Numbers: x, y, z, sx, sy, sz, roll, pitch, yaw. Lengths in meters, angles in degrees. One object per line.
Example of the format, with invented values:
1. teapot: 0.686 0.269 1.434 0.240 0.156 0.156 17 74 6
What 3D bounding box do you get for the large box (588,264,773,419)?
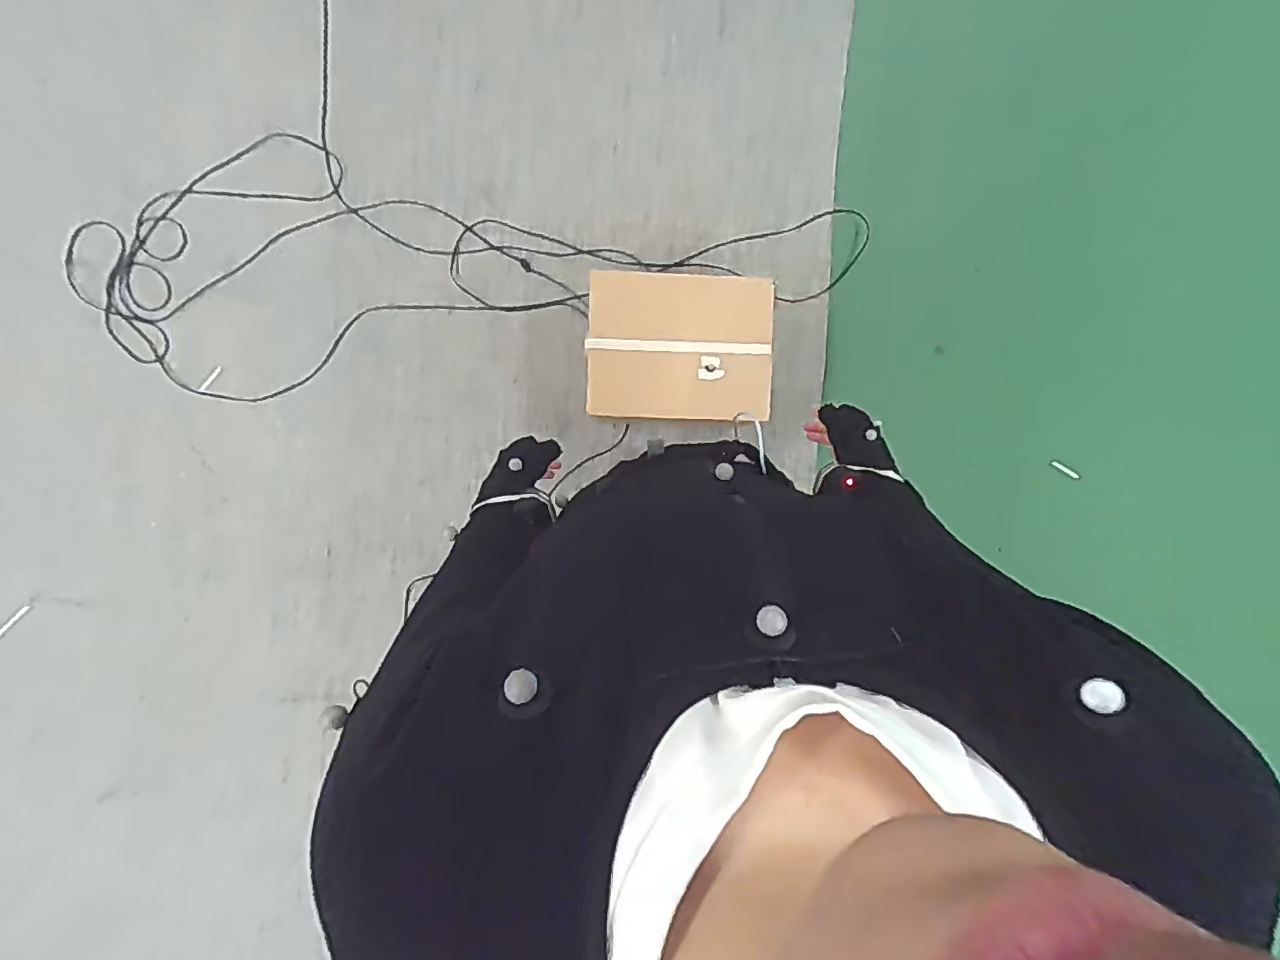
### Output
1. large box: 0.080 -0.313 1.318 0.408 0.320 0.320 1 94 -3
